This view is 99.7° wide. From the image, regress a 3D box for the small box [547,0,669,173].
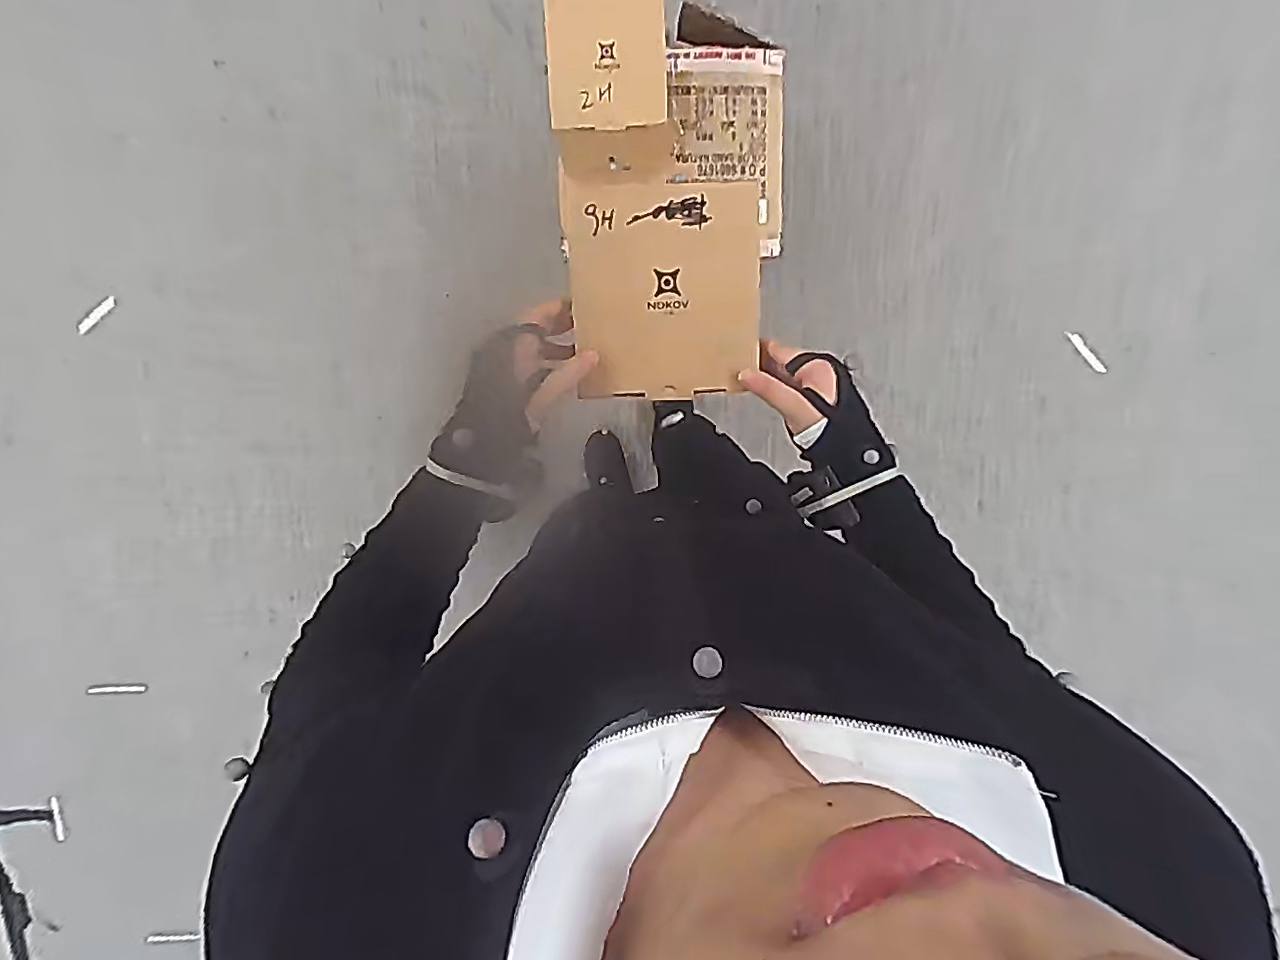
[{"bbox_3d":[-0.044,-0.594,0.823,0.168,0.176,0.179,-3,101,1],"label":"small box"}]
